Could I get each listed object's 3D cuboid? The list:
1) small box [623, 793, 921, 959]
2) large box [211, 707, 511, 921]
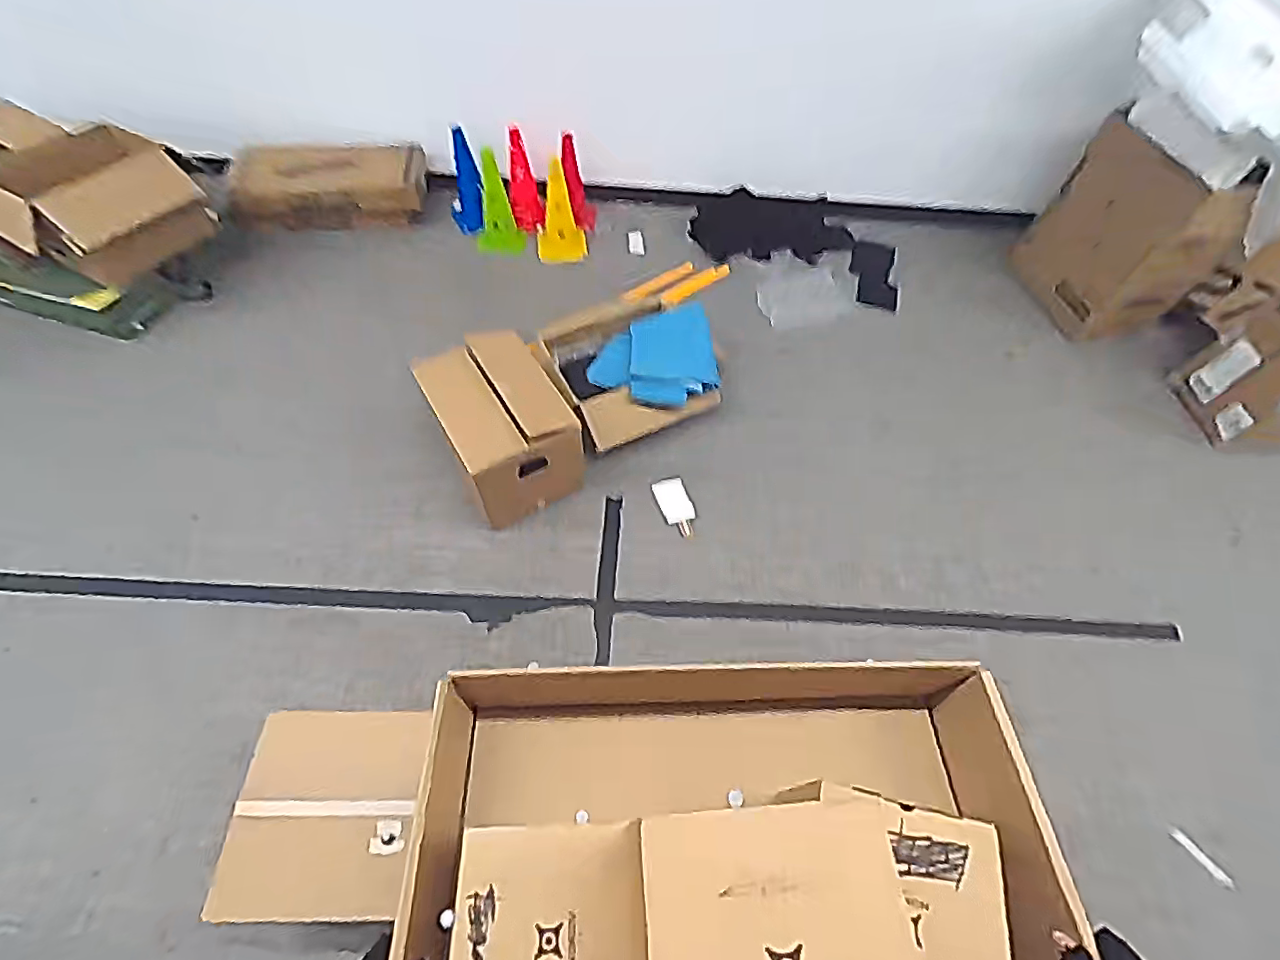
[{"bbox_3d":[0.076,0.326,0.370,0.168,0.176,0.179,-1,55,-6],"label":"small box"},{"bbox_3d":[-0.492,0.642,1.064,0.408,0.320,0.320,1,58,-3],"label":"large box"}]
